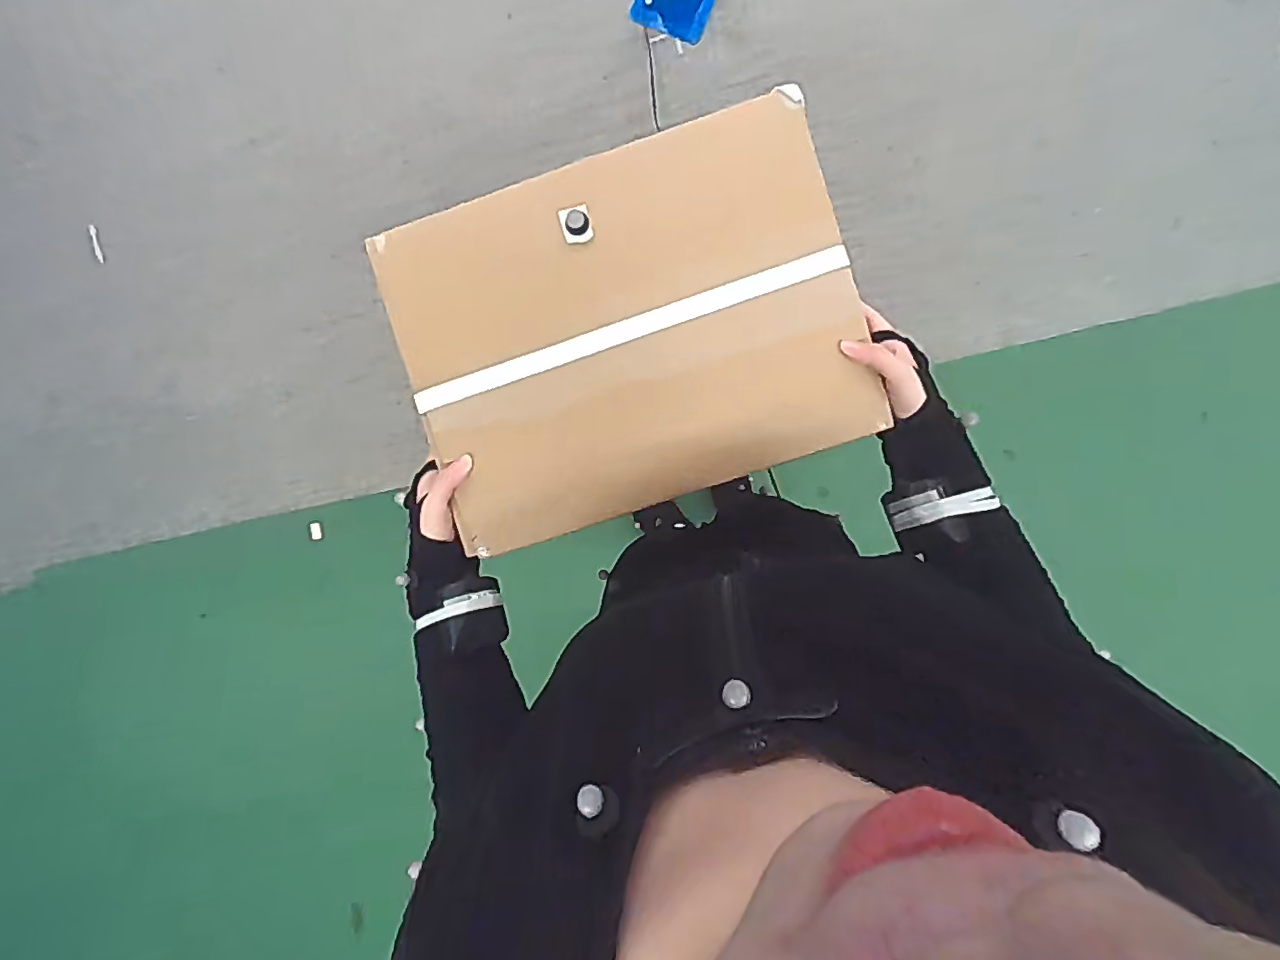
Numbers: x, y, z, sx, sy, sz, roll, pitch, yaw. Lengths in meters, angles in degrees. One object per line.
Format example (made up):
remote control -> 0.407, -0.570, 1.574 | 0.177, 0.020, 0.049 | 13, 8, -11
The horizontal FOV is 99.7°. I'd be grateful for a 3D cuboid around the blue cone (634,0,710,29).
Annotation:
blue cone -> 0.080, -1.252, 1.217 | 0.192, 0.380, 0.193 | 20, 96, 3
